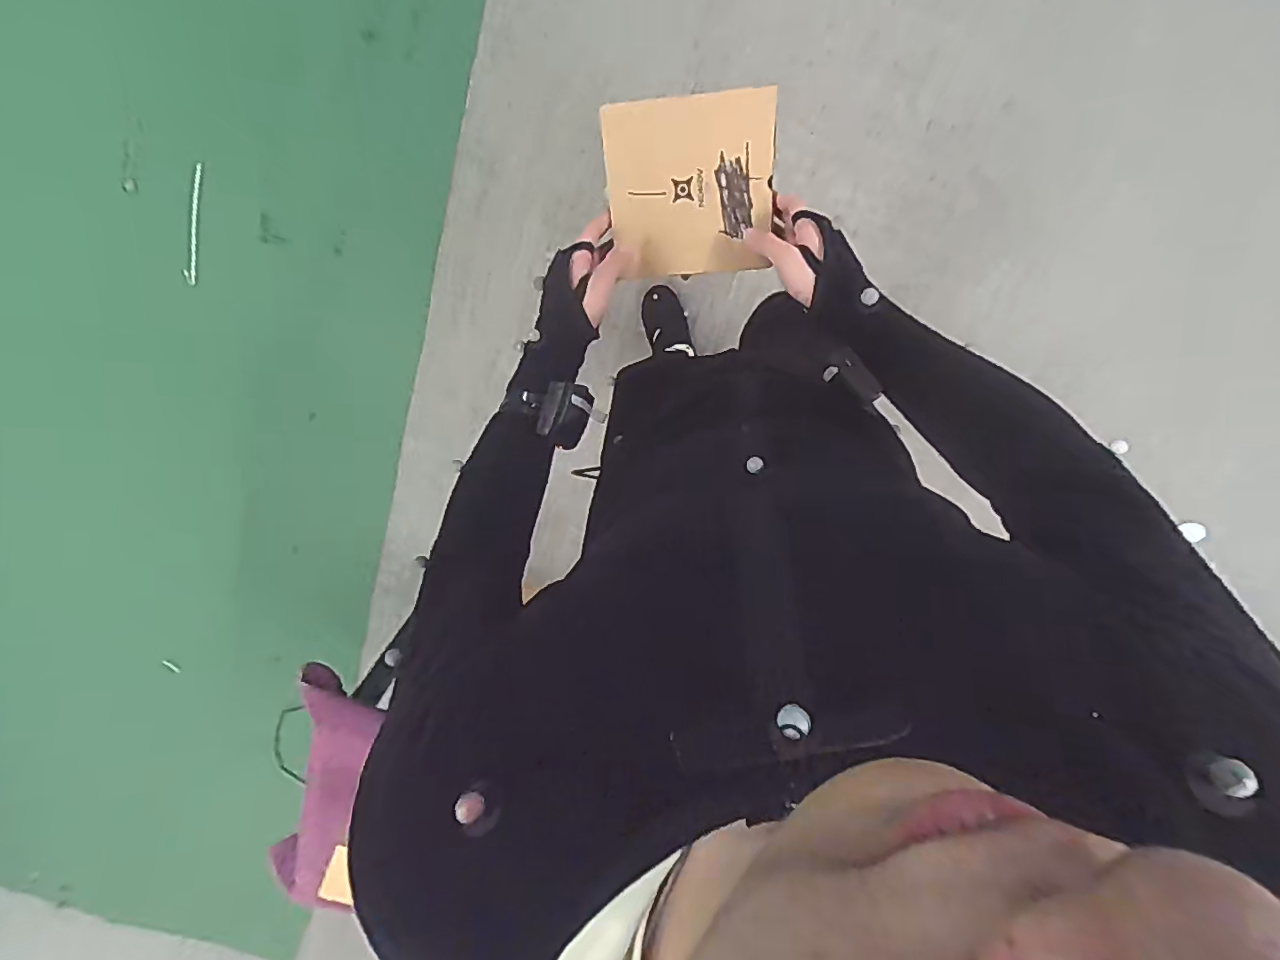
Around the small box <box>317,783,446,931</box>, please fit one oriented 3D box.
[{"bbox_3d":[-0.519,0.764,1.109,0.168,0.176,0.179,23,111,-7],"label":"small box"}]

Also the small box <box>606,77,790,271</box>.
[{"bbox_3d":[0.062,-0.340,0.615,0.179,0.176,0.168,-2,117,5],"label":"small box"}]
